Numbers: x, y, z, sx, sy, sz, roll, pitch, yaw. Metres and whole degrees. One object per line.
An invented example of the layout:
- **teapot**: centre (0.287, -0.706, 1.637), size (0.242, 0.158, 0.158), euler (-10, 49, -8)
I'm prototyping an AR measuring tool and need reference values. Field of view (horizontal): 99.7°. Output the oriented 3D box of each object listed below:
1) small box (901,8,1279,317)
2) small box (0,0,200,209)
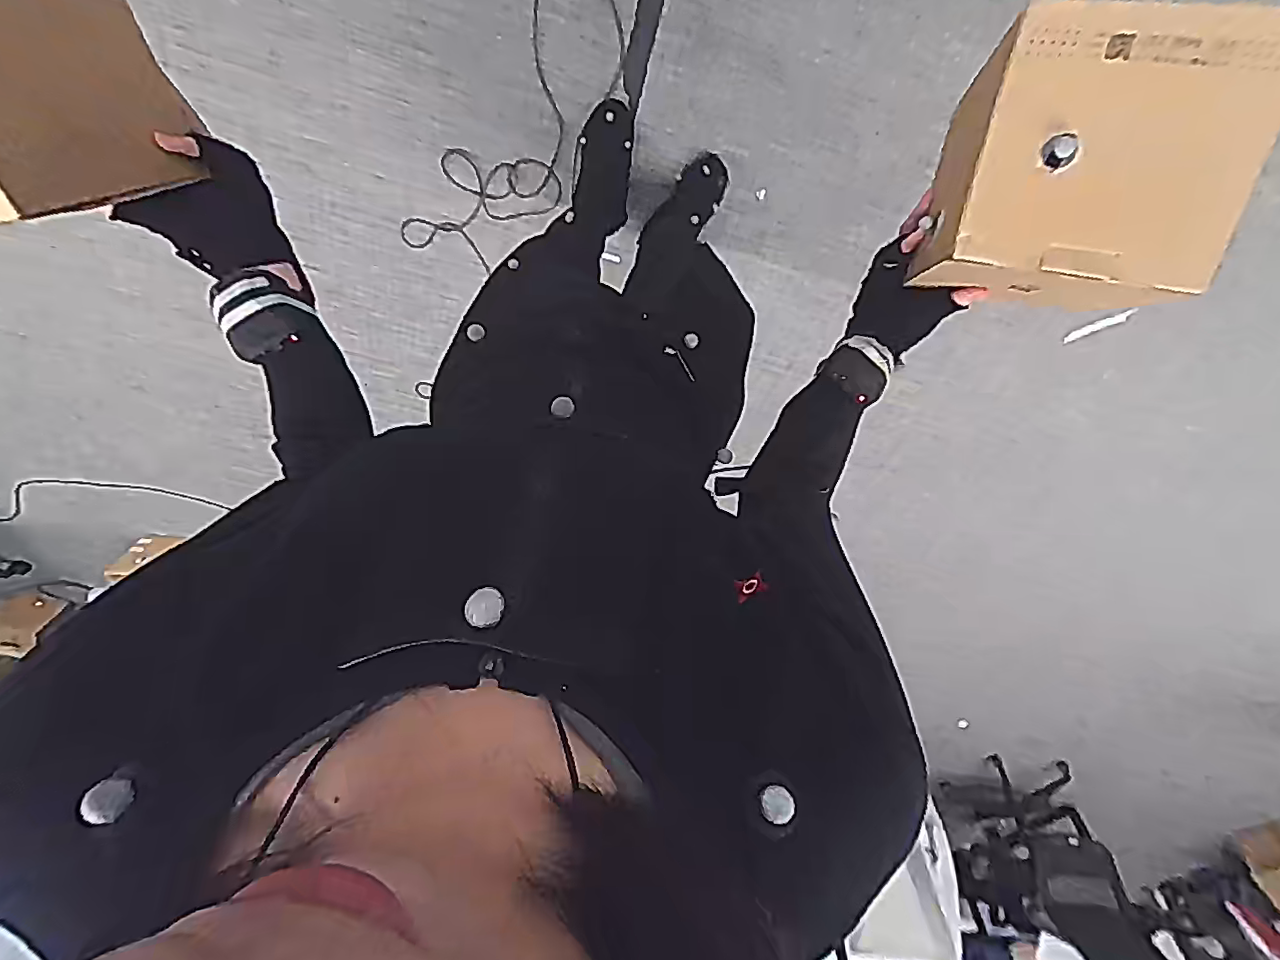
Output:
- **small box**: centre (0.340, -0.237, 0.439), size (0.168, 0.179, 0.176), euler (14, 105, 10)
- **small box**: centre (-0.435, -0.261, 0.318), size (0.168, 0.179, 0.176), euler (-3, 128, 2)
